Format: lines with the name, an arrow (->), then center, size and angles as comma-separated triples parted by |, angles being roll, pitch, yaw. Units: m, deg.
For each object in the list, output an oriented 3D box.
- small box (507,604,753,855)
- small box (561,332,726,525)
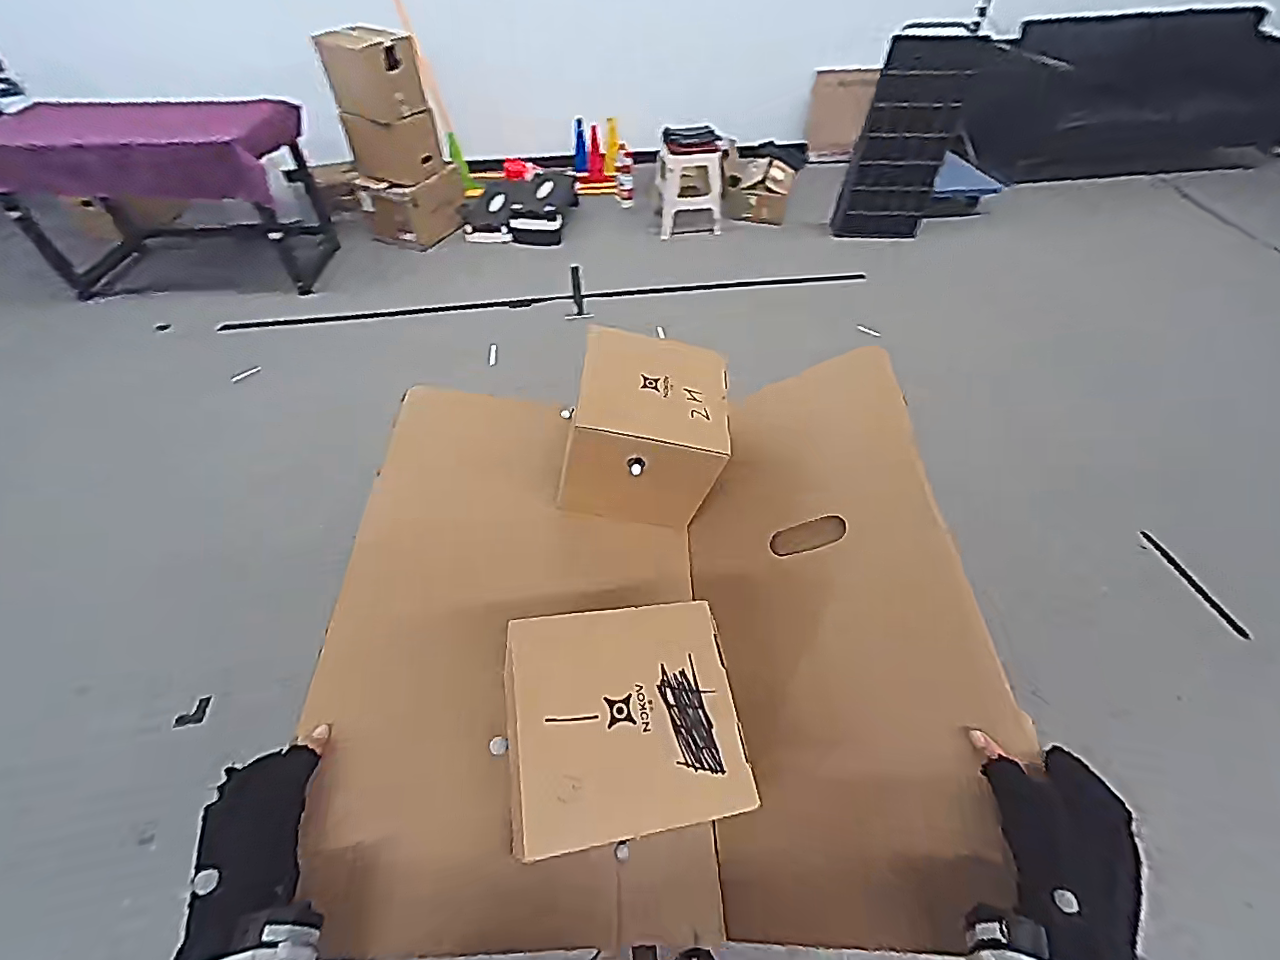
small box -> -0.026, 0.226, 0.496 | 0.179, 0.176, 0.168 | -2, 57, -17
small box -> -0.001, -0.058, 0.698 | 0.179, 0.176, 0.168 | 11, 55, -9
